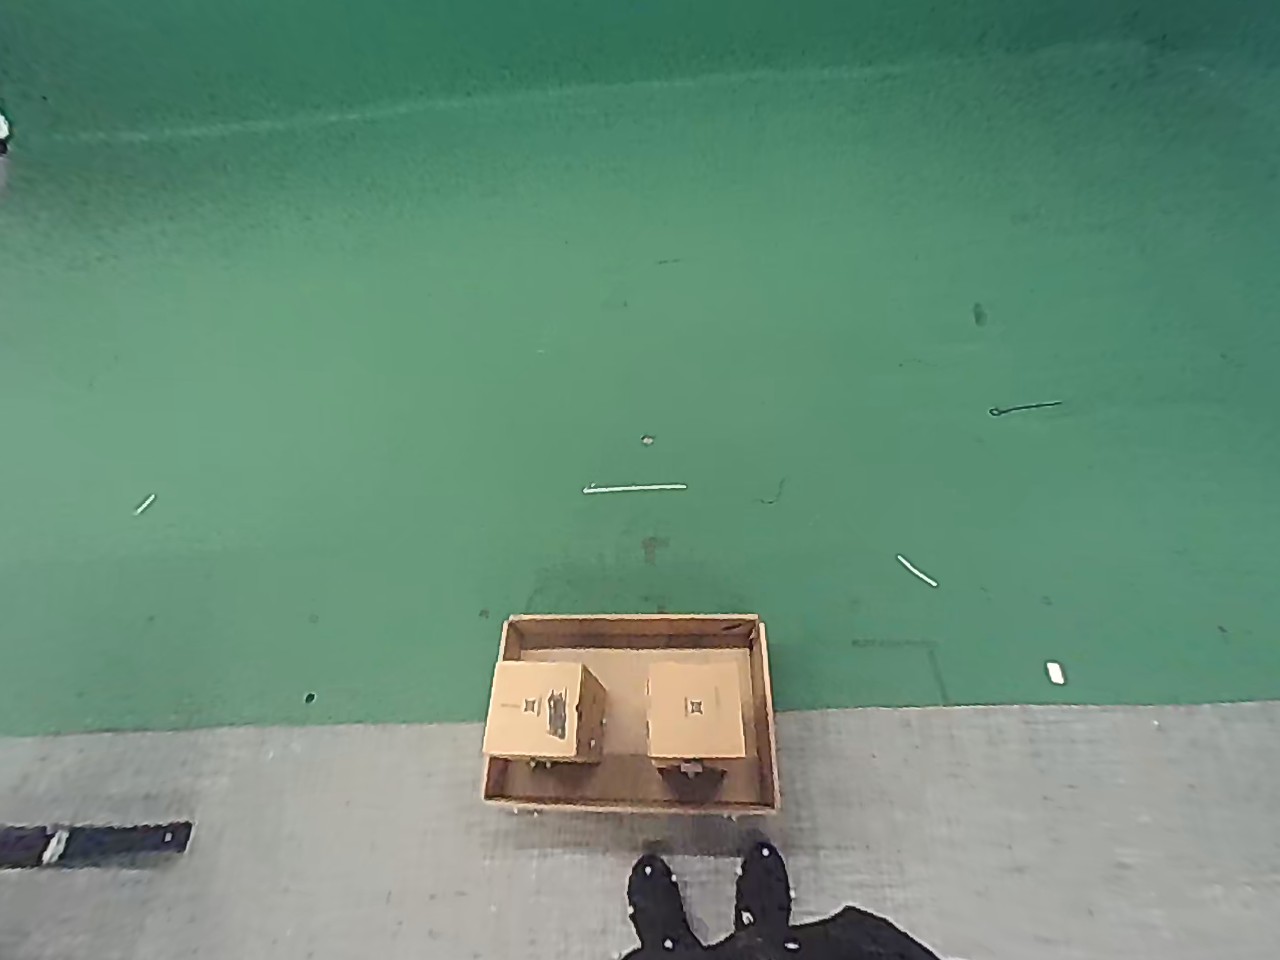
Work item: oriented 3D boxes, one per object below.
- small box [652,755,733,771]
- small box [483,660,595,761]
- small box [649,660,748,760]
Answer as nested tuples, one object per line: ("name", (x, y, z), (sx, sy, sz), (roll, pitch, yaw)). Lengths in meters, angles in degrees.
("small box", (0.118, 0.540, 1.194), (0.168, 0.176, 0.179), (0, 61, 6))
("small box", (-0.187, 0.460, 1.072), (0.179, 0.176, 0.168), (-1, 60, 5))
("small box", (0.111, 0.452, 1.056), (0.179, 0.176, 0.168), (-2, 62, 4))
